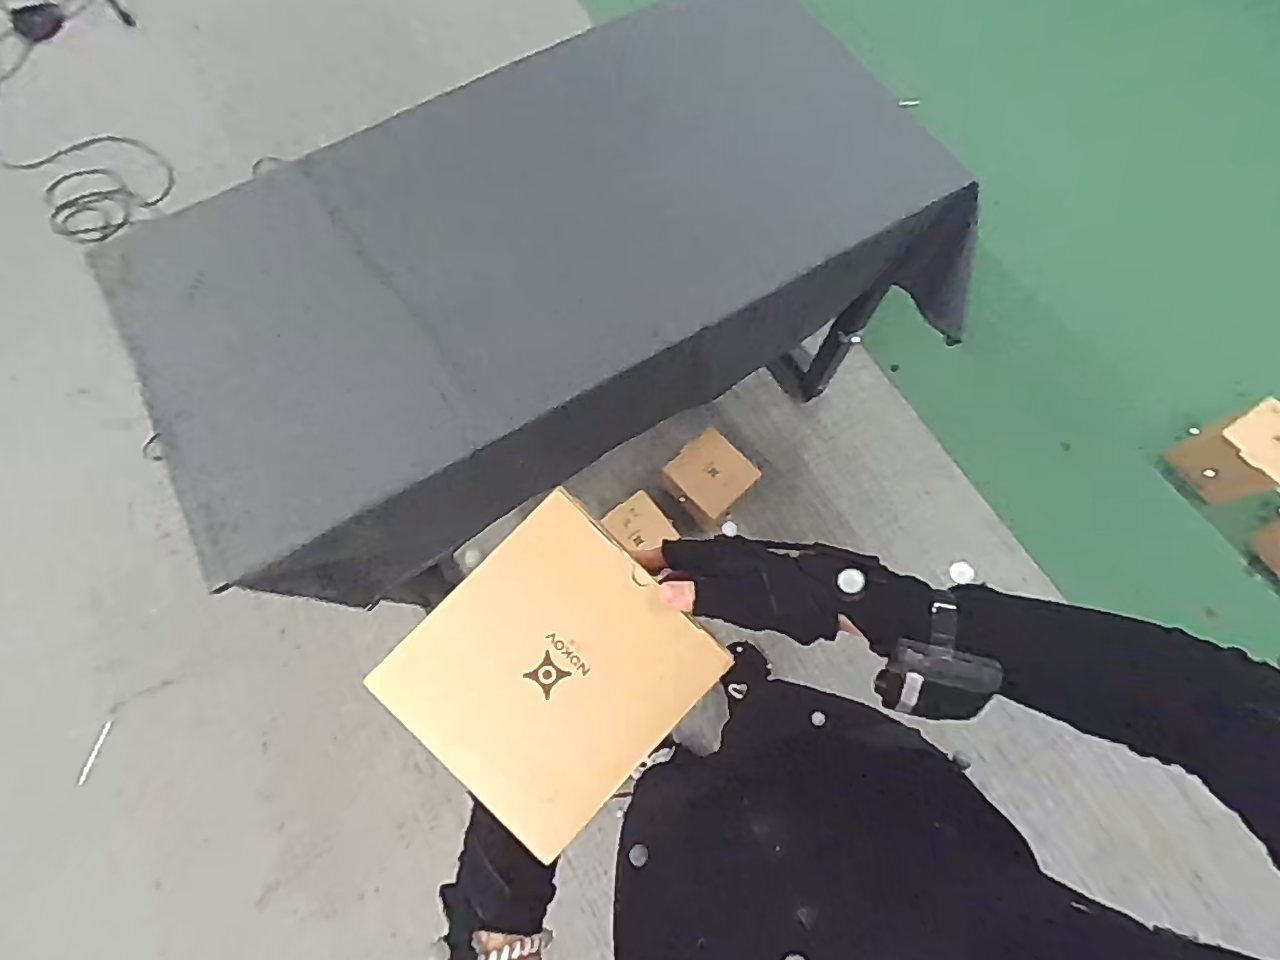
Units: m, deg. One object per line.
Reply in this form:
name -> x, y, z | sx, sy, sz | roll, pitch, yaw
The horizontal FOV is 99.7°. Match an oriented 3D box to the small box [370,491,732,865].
small box -> -0.058, 0.130, 0.423 | 0.168, 0.176, 0.179 | 45, 84, 1

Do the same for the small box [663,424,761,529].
small box -> 0.173, -0.001, 1.354 | 0.168, 0.176, 0.179 | -42, 75, -10

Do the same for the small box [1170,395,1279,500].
small box -> 1.484, -0.072, 1.334 | 0.179, 0.176, 0.168 | -31, 75, -6
